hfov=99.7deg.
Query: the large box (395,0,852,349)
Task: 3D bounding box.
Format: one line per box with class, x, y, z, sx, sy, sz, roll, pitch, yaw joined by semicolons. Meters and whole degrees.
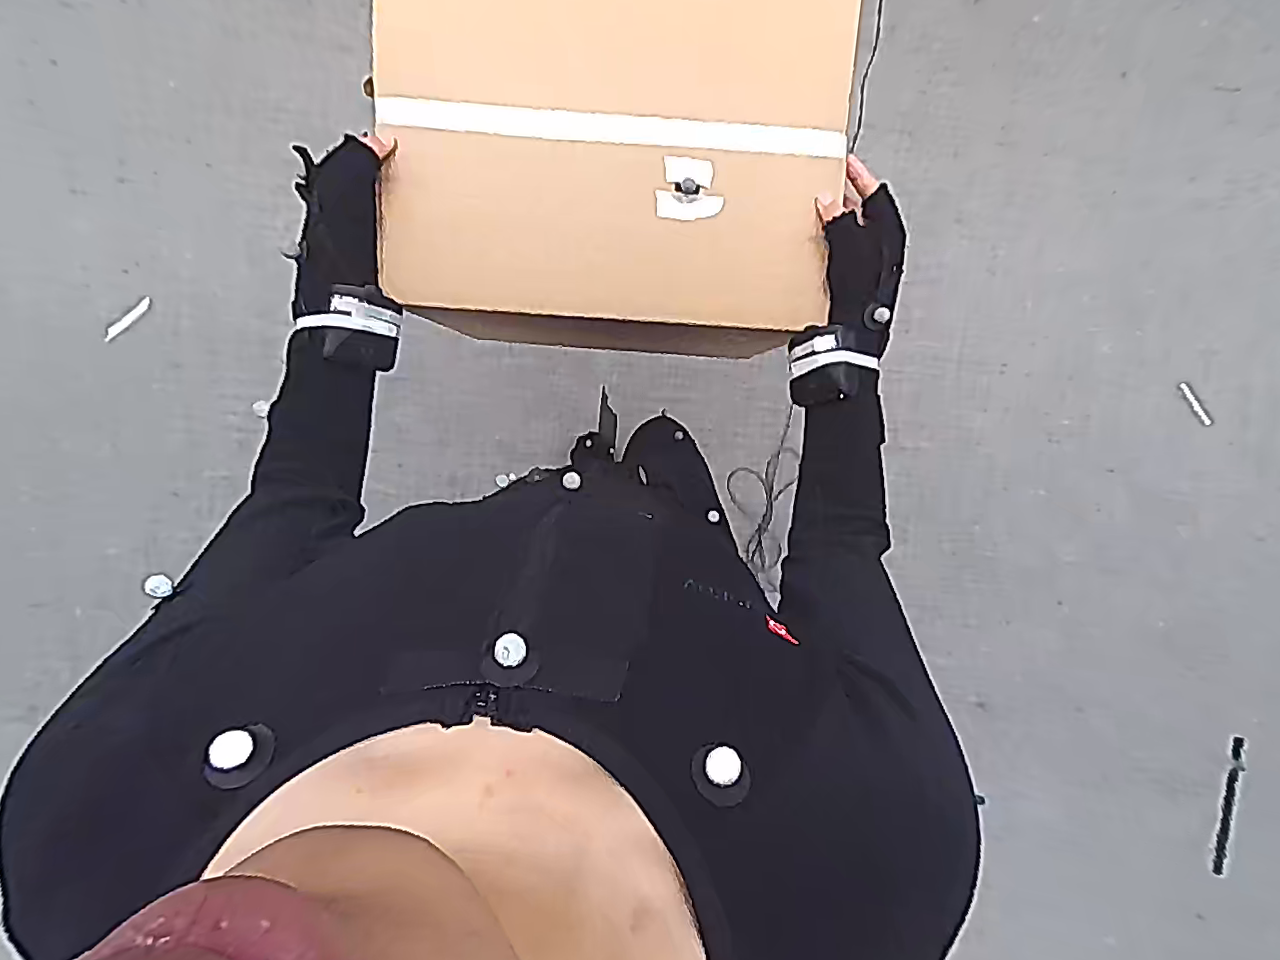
large box;-0.024;-0.332;0.631;0.408;0.320;0.320;3;99;-3
